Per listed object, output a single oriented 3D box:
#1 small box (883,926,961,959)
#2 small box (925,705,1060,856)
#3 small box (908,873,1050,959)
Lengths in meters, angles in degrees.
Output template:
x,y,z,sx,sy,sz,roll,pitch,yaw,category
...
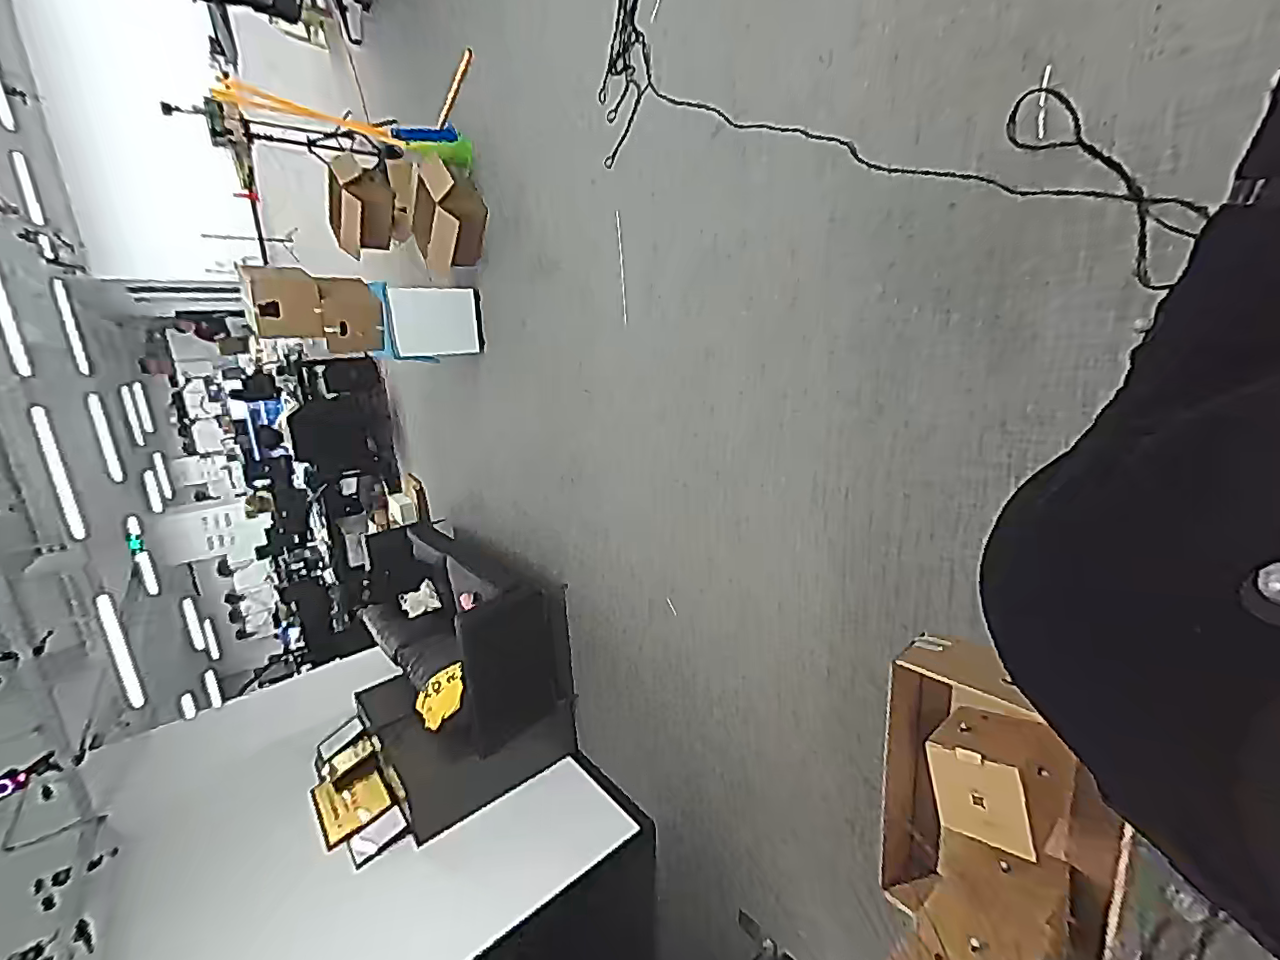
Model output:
x,y,z,sx,sy,sz,roll,pitch,yaw,category
0.482,0.907,0.885,0.168,0.176,0.179,8,107,49,small box
0.690,0.570,1.057,0.168,0.176,0.179,-8,95,53,small box
0.611,0.866,0.979,0.179,0.176,0.168,5,105,50,small box
